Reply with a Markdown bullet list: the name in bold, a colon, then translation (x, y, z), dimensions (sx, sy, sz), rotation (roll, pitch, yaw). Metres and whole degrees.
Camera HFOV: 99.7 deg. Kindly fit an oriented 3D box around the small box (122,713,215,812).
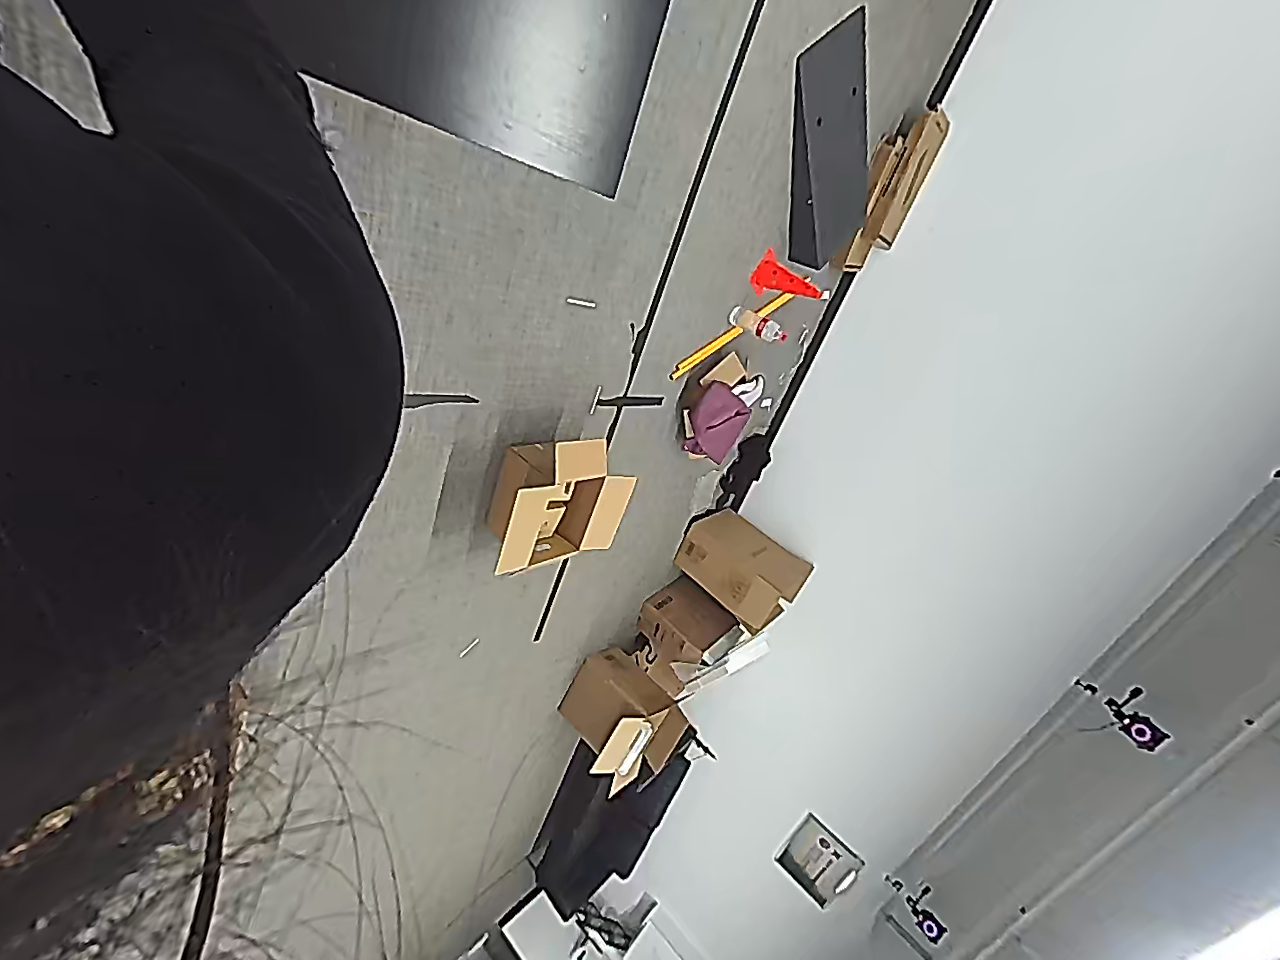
- **small box**: translation (-1.439, 0.851, 1.649), dimensions (0.179, 0.176, 0.168), rotation (-5, 123, -53)
